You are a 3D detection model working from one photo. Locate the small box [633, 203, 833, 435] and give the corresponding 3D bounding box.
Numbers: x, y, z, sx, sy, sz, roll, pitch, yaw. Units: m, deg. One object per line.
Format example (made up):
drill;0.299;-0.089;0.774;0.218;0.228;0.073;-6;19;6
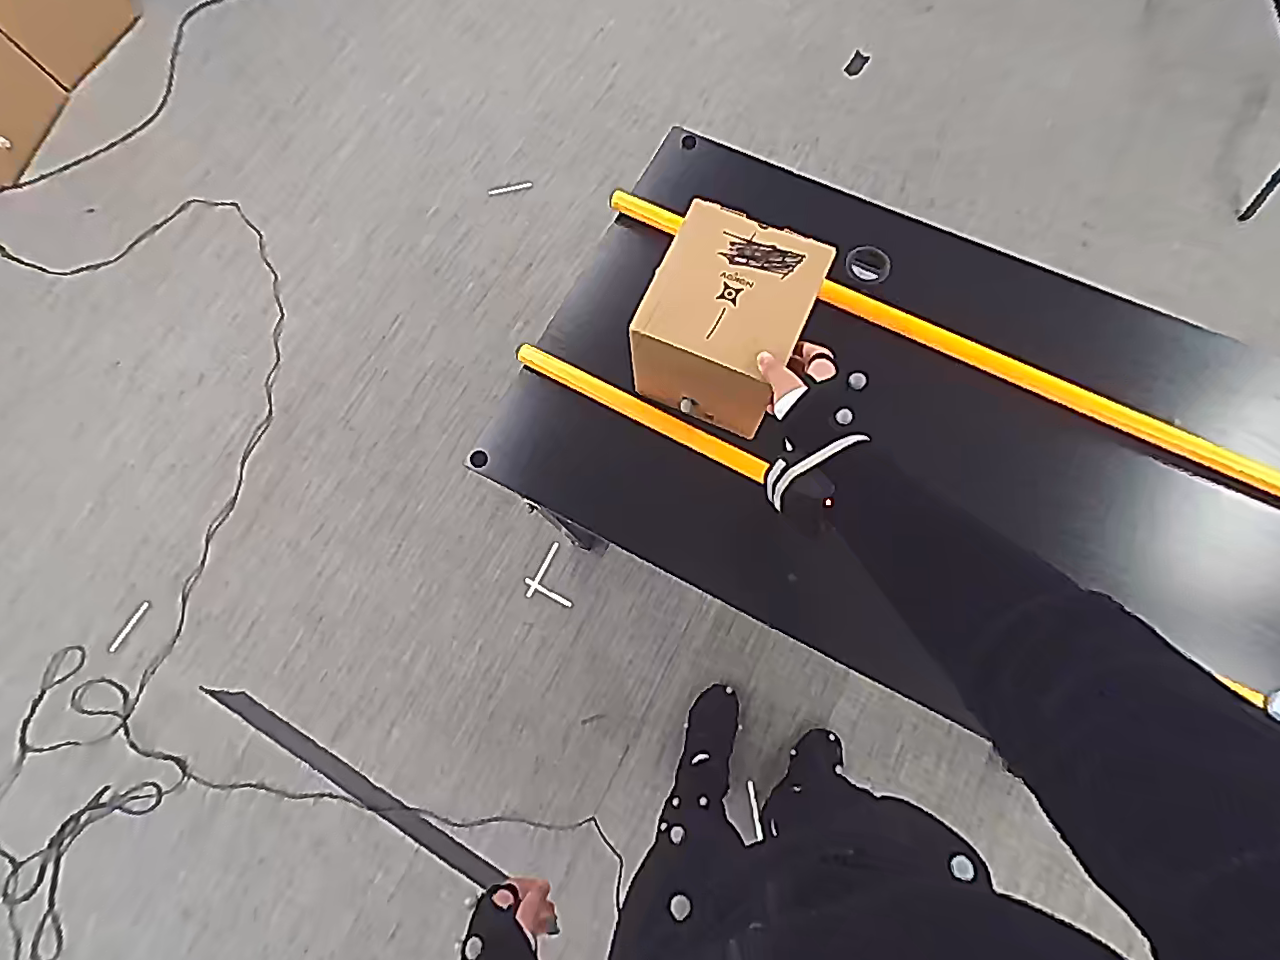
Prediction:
small box;0.102;-0.181;0.650;0.168;0.176;0.179;24;78;8
